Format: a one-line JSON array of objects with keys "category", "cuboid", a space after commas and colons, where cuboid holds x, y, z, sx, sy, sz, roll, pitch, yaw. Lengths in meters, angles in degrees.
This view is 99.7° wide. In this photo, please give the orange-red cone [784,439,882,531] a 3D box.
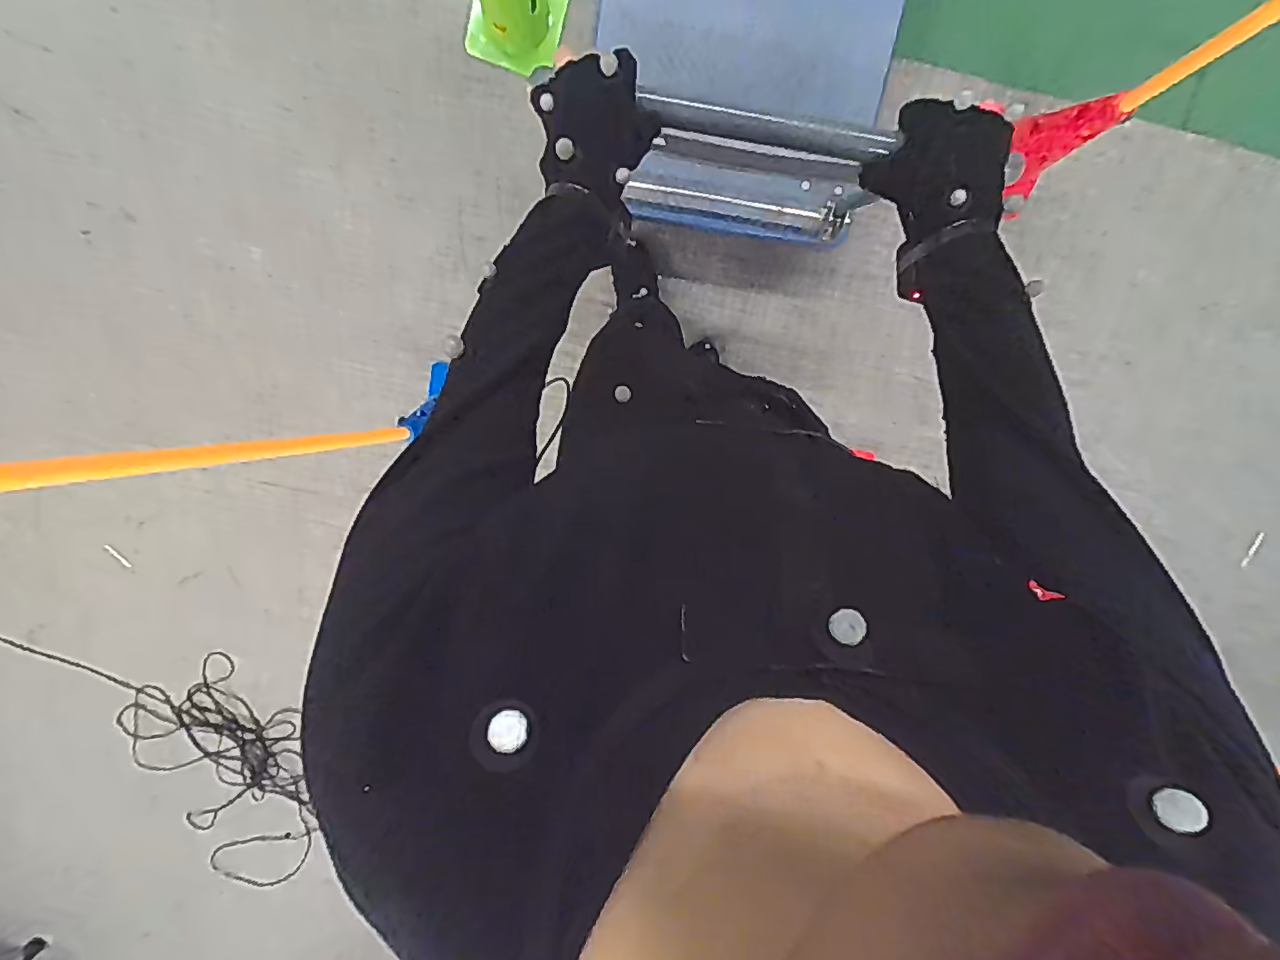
[{"category": "orange-red cone", "cuboid": [0.502, 0.046, 1.314, 0.199, 0.360, 0.198, 13, 106, 0]}]

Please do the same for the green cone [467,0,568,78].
[{"category": "green cone", "cuboid": [-0.278, -0.980, 1.030, 0.202, 0.368, 0.200, 18, 106, -3]}]
